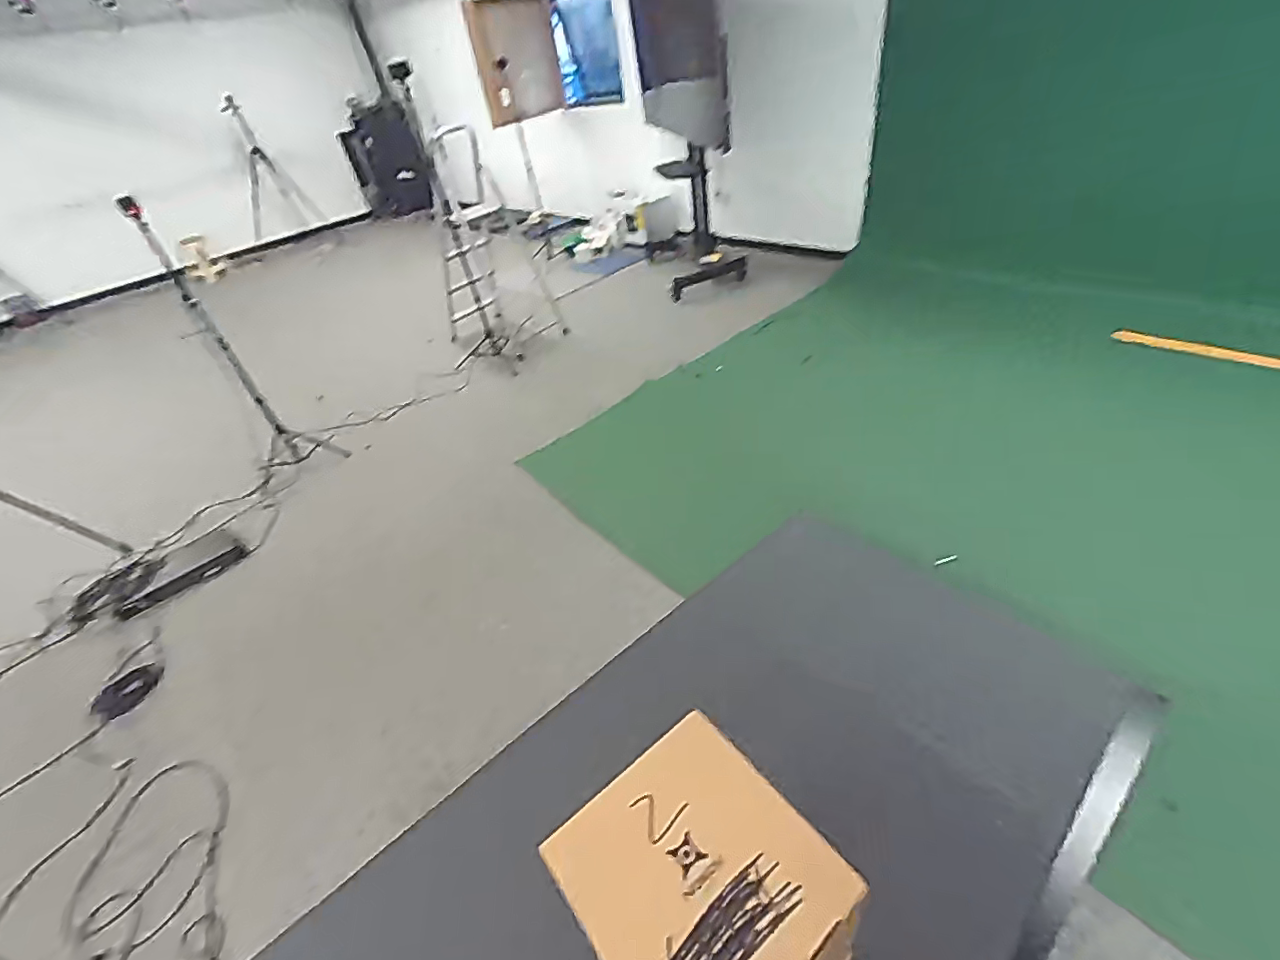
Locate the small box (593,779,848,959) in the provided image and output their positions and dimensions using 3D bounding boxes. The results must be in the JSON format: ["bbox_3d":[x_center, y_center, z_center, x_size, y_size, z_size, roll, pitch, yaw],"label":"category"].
[{"bbox_3d":[0.077,0.456,0.543,0.168,0.176,0.179,-31,43,-22],"label":"small box"}]
